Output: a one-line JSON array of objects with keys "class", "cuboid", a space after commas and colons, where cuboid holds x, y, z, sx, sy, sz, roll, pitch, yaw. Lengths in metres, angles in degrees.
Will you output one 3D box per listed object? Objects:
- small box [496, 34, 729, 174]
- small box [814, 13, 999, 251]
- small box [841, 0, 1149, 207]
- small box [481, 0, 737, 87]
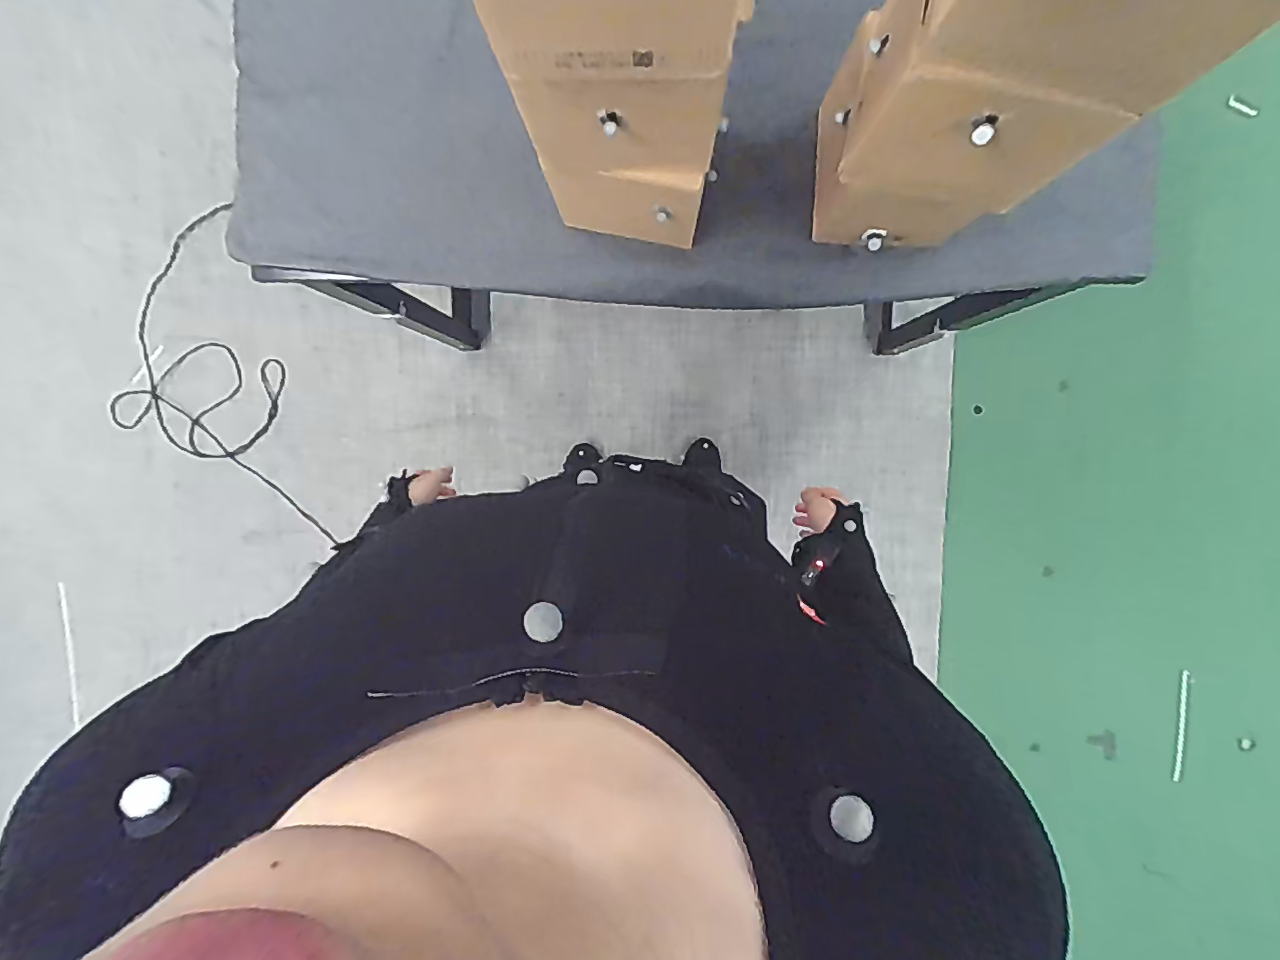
[{"class": "small box", "cuboid": [-0.016, -0.395, 0.477, 0.179, 0.176, 0.168, 2, 94, 3]}, {"class": "small box", "cuboid": [0.309, -0.388, 0.629, 0.168, 0.176, 0.179, 2, 94, 3]}, {"class": "small box", "cuboid": [0.301, -0.363, 0.468, 0.179, 0.176, 0.168, 13, 94, 3]}, {"class": "small box", "cuboid": [-0.020, -0.375, 0.314, 0.168, 0.176, 0.179, 1, 93, 2]}]
